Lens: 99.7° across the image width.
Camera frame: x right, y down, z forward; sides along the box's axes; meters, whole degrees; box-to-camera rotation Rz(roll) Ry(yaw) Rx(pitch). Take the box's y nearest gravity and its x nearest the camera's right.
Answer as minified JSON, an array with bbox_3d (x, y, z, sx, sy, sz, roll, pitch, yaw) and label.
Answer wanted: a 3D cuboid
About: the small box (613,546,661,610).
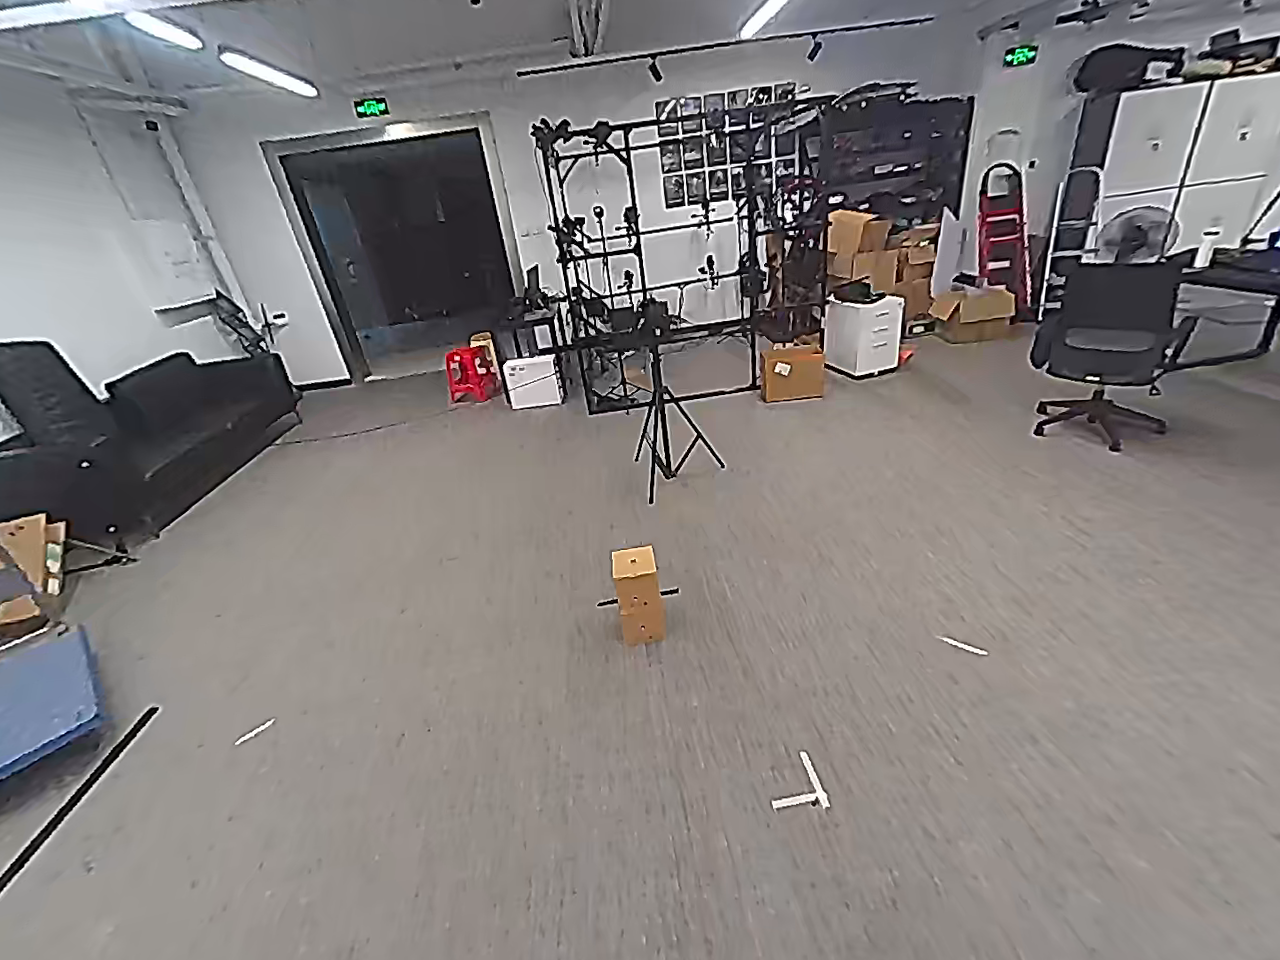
[{"bbox_3d":[-0.012,0.384,2.123,0.168,0.176,0.179,-9,28,-1],"label":"small box"}]

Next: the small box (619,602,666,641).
[{"bbox_3d":[0.006,0.532,2.189,0.168,0.176,0.179,-10,27,-3],"label":"small box"}]
